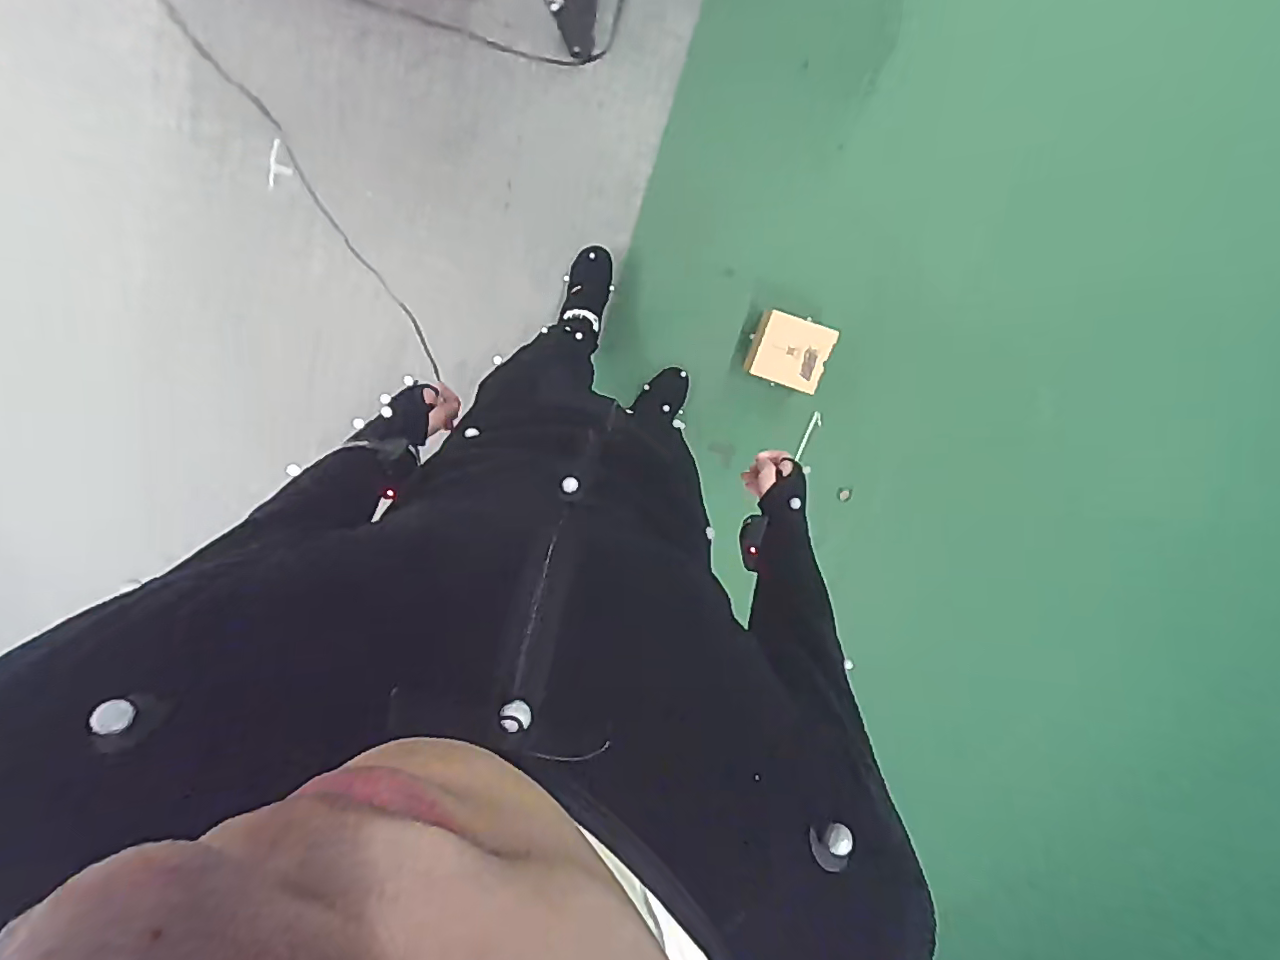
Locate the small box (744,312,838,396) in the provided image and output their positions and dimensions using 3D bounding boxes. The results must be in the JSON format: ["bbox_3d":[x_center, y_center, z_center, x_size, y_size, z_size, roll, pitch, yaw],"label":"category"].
[{"bbox_3d":[0.389,-0.336,1.429,0.179,0.176,0.168,20,106,0],"label":"small box"}]
